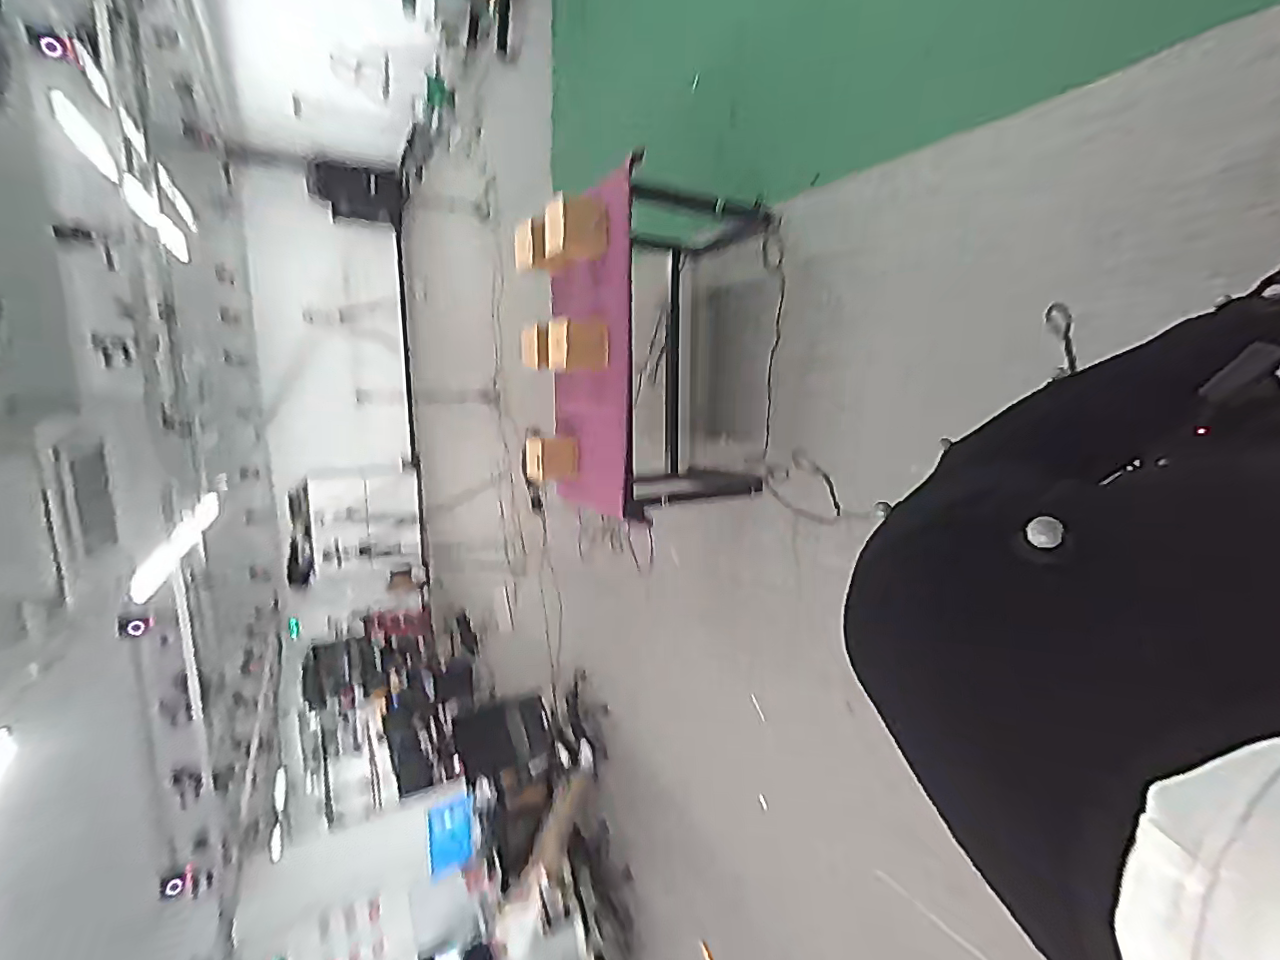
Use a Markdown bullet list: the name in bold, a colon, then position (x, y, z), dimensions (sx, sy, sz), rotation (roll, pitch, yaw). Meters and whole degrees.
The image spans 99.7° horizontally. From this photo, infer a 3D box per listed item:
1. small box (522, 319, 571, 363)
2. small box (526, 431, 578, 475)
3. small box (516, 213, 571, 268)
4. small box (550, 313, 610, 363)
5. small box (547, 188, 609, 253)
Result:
- **small box**: position (-0.381, -0.575, 2.251), dimensions (0.179, 0.176, 0.168), rotation (17, 110, 55)
- **small box**: position (-0.373, -0.120, 2.303), dimensions (0.179, 0.176, 0.168), rotation (17, 108, 56)
- **small box**: position (-0.392, -0.970, 2.200), dimensions (0.179, 0.176, 0.168), rotation (16, 110, 56)
- **small box**: position (-0.224, -0.520, 2.000), dimensions (0.179, 0.176, 0.168), rotation (19, 110, 57)
- **small box**: position (-0.225, -0.918, 1.930), dimensions (0.179, 0.176, 0.168), rotation (20, 113, 58)
